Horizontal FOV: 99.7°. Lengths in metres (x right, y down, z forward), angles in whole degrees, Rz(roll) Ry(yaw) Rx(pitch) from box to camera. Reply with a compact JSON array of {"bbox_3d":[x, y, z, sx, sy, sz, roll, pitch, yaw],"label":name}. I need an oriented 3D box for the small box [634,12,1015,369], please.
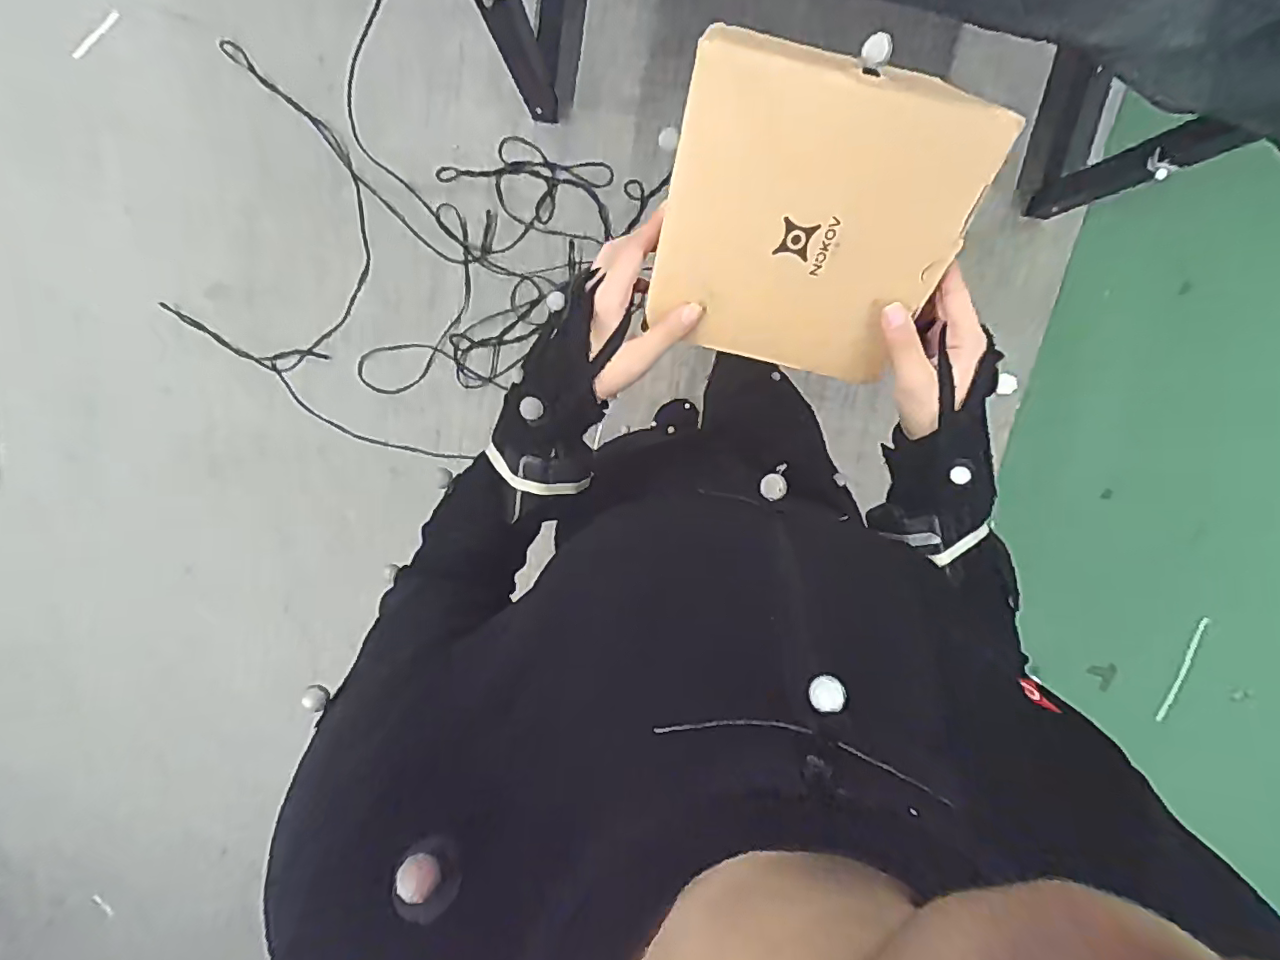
[{"bbox_3d":[0.103,-0.207,0.385,0.179,0.176,0.168,12,132,-2],"label":"small box"}]
